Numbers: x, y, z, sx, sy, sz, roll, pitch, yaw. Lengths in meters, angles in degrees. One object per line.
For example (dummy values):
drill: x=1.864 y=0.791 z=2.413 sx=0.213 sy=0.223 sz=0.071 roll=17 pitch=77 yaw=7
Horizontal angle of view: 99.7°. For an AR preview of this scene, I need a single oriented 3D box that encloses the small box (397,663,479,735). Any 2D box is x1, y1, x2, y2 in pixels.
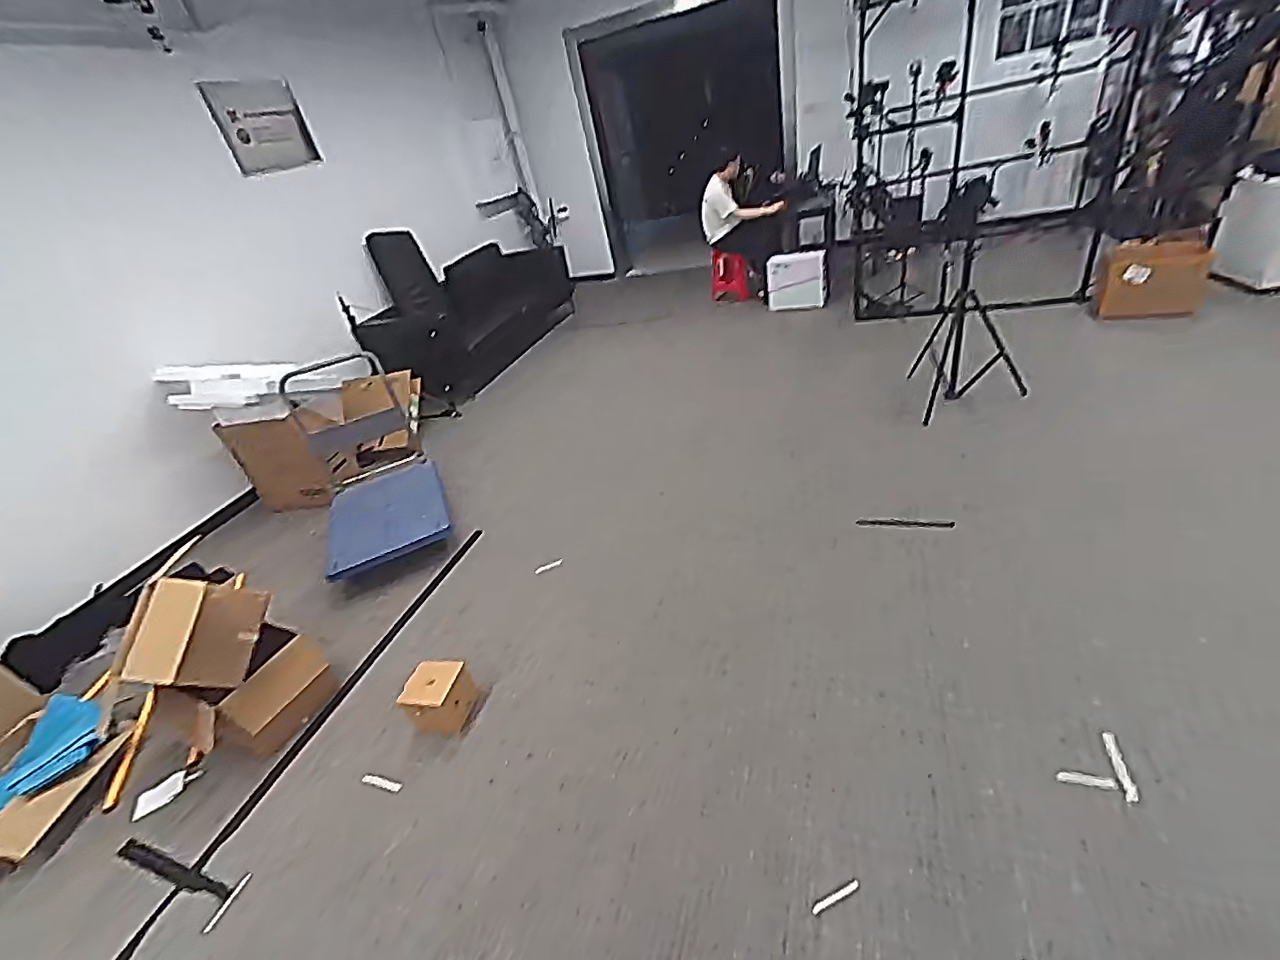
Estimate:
small box: x=-0.683 y=0.752 z=1.853 sx=0.179 sy=0.176 sz=0.168 roll=-4 pitch=34 yaw=16
